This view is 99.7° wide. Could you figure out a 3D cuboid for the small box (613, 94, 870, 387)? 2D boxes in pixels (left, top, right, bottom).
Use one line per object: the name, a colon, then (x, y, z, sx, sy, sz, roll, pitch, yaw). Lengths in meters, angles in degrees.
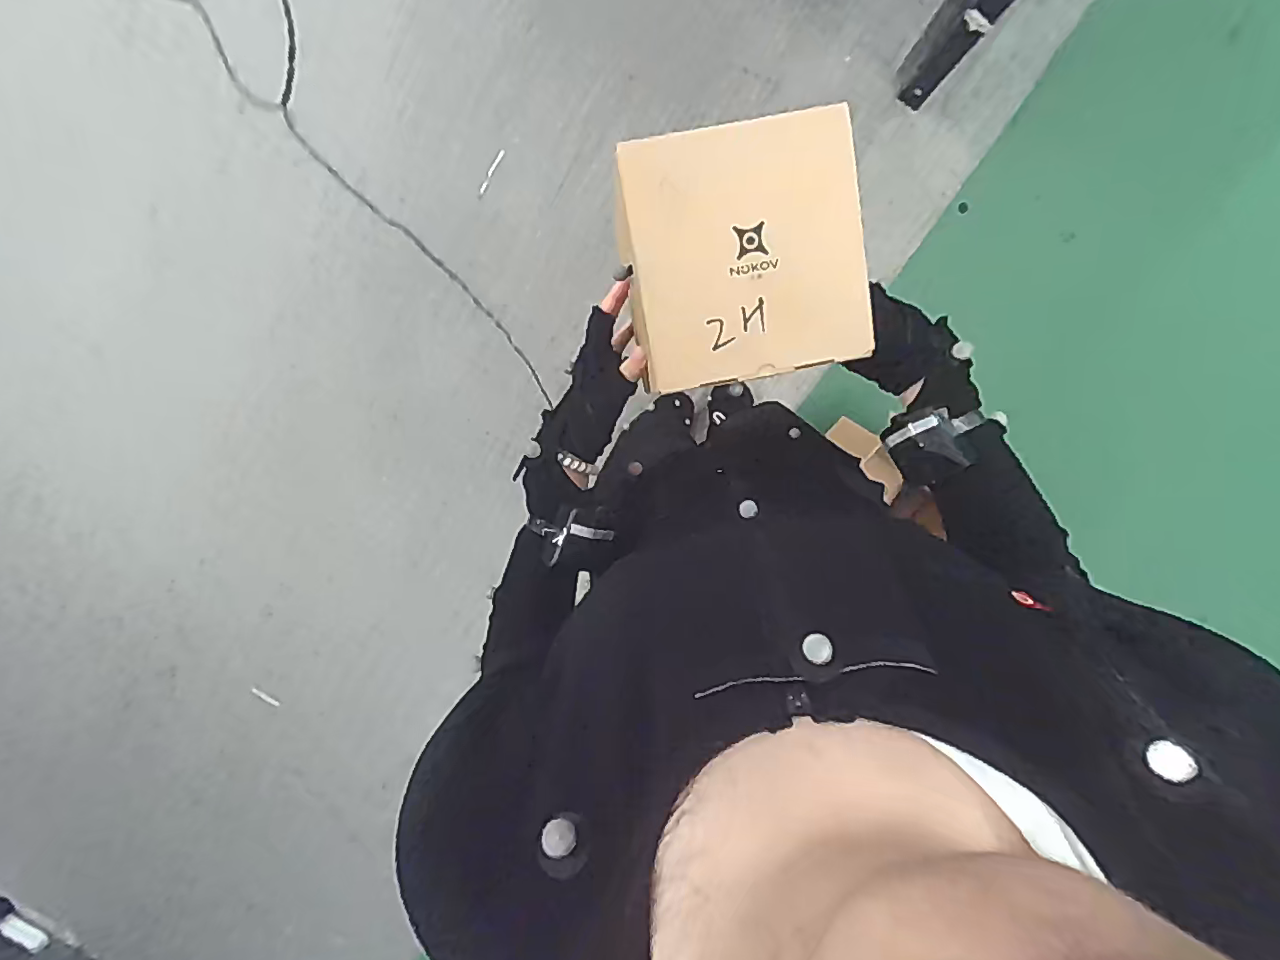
small box: (0.070, -0.179, 0.460, 0.168, 0.176, 0.179, -11, 100, 0)
